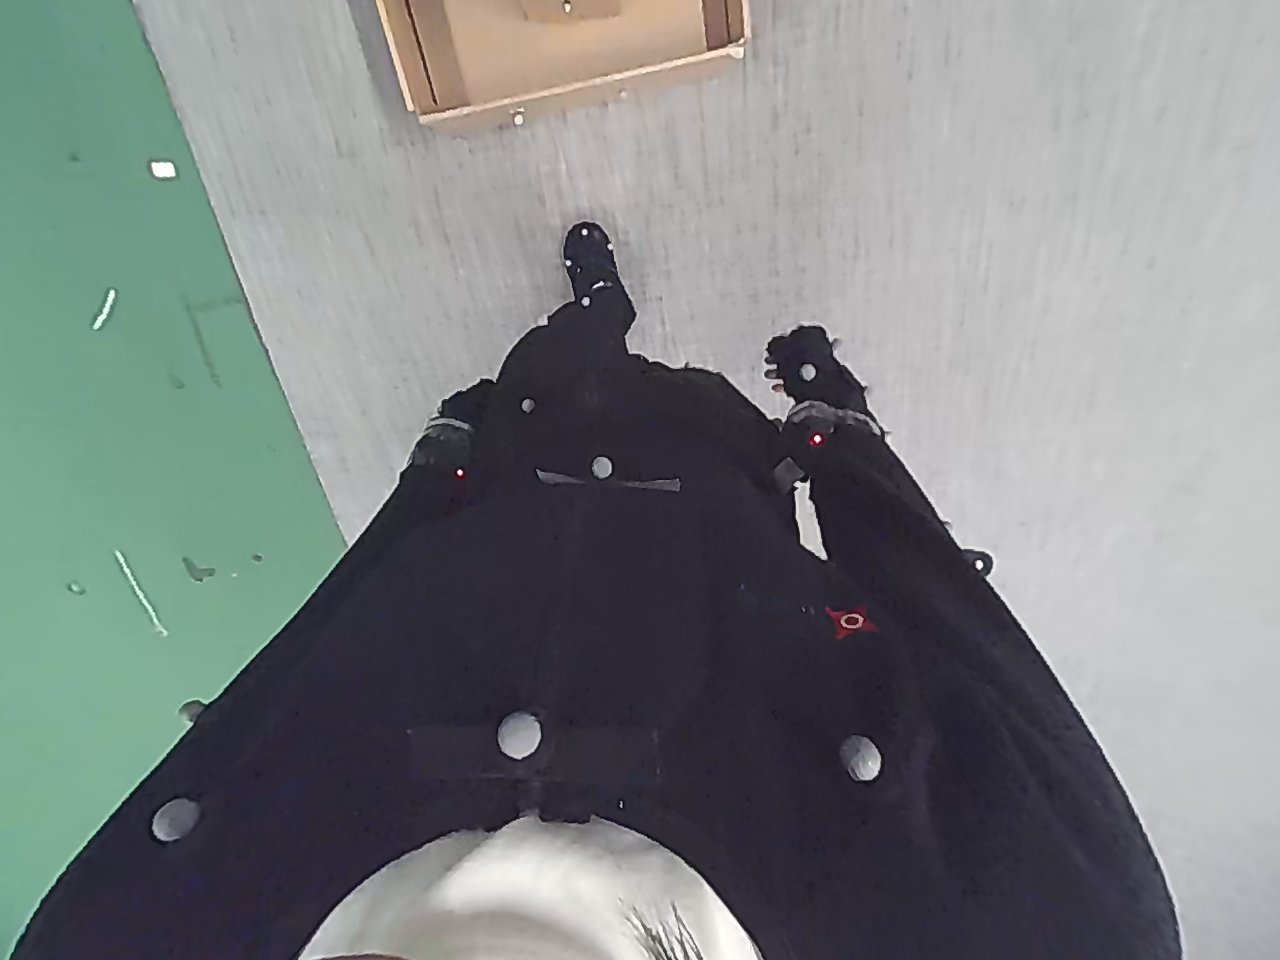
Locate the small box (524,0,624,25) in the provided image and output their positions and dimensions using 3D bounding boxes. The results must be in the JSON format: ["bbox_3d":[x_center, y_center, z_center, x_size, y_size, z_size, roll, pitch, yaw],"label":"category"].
[{"bbox_3d":[-0.120,-0.930,0.942,0.179,0.176,0.168,-2,113,4],"label":"small box"}]
